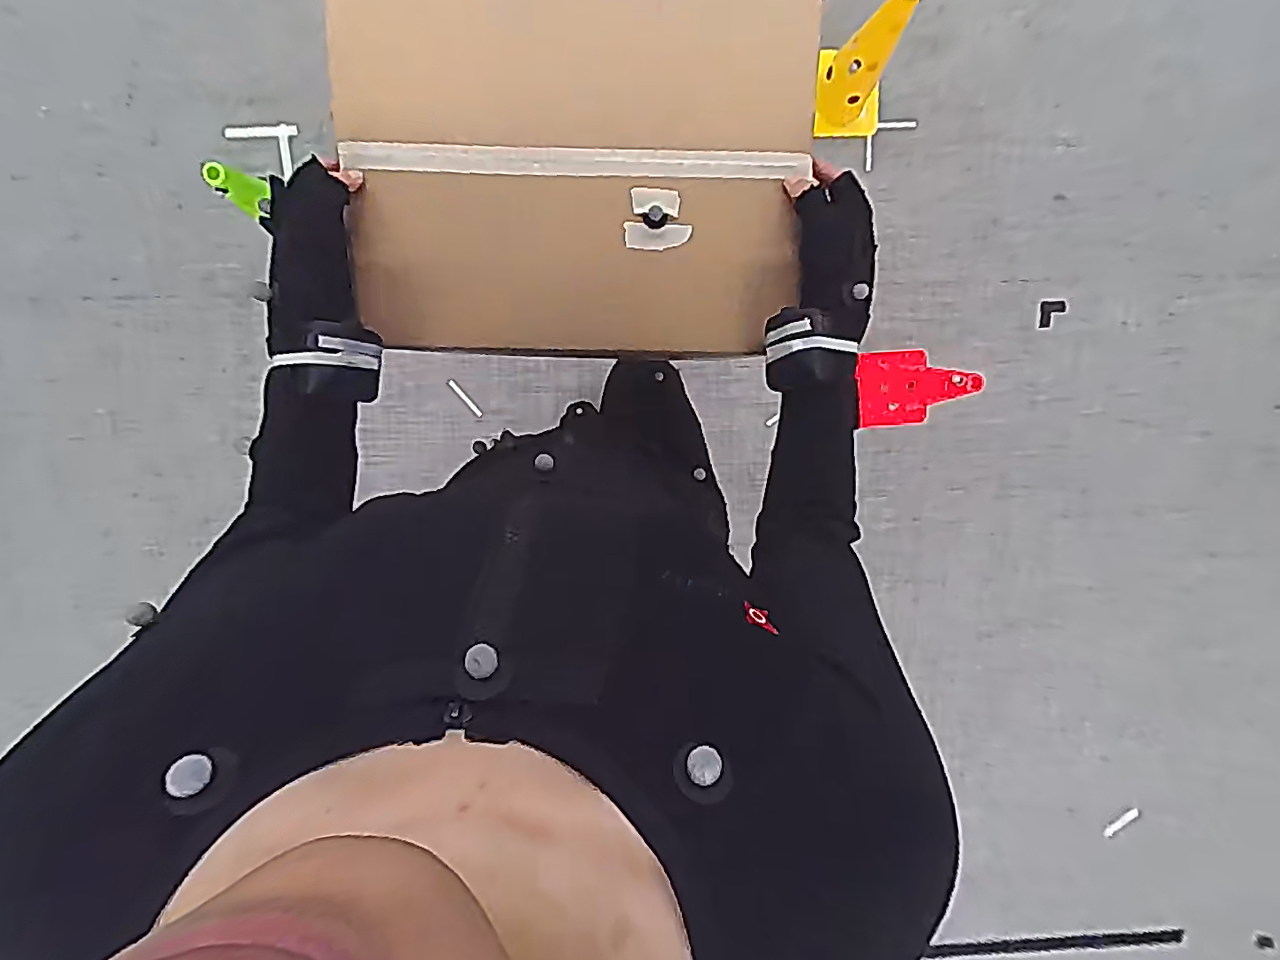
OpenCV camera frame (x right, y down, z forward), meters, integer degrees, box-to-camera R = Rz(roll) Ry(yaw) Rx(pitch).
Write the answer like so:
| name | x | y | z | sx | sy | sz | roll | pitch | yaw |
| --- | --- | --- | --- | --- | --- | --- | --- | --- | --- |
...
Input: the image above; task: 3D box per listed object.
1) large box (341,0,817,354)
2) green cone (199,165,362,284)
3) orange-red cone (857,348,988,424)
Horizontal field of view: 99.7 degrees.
| name | x | y | z | sx | sy | sz | roll | pitch | yaw |
| --- | --- | --- | --- | --- | --- | --- | --- | --- | --- |
| large box | -0.056 | -0.310 | 0.618 | 0.408 | 0.320 | 0.320 | 0 | 102 | -3 |
| green cone | -0.801 | -0.599 | 1.181 | 0.202 | 0.368 | 0.200 | -38 | 97 | 5 |
| orange-red cone | 0.689 | -0.232 | 1.285 | 0.198 | 0.360 | 0.199 | -4 | 97 | -2 |
